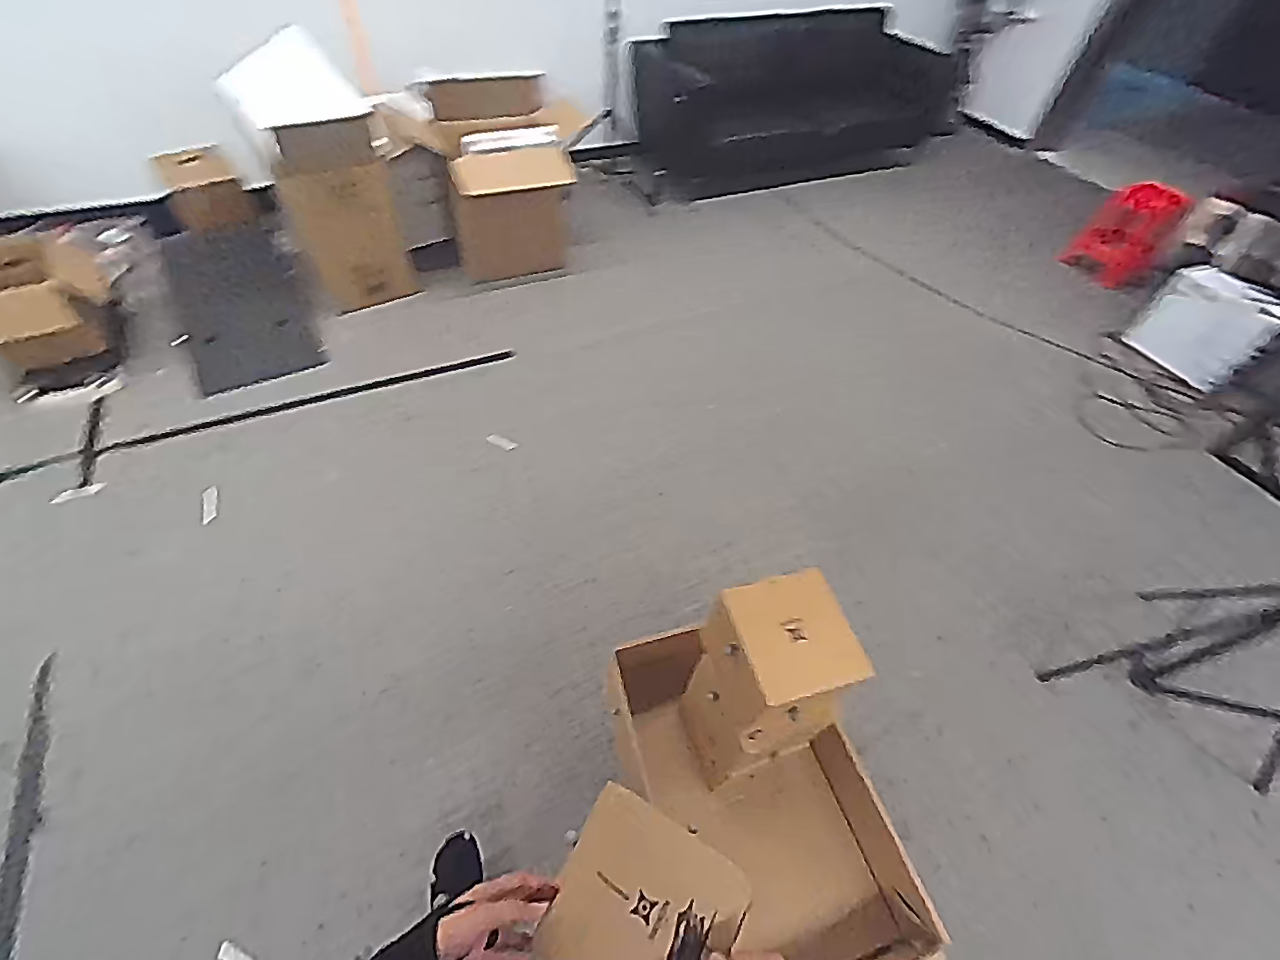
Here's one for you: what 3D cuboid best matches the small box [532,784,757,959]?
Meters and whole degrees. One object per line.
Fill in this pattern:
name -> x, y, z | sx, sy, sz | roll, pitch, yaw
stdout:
small box -> 0.000, 0.468, 0.611 | 0.179, 0.176, 0.168 | 31, 62, 9

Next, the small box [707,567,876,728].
small box -> 0.218, 0.263, 0.829 | 0.168, 0.176, 0.179 | -10, 54, -14

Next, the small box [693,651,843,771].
small box -> 0.211, 0.382, 0.943 | 0.179, 0.176, 0.168 | -12, 54, -16
